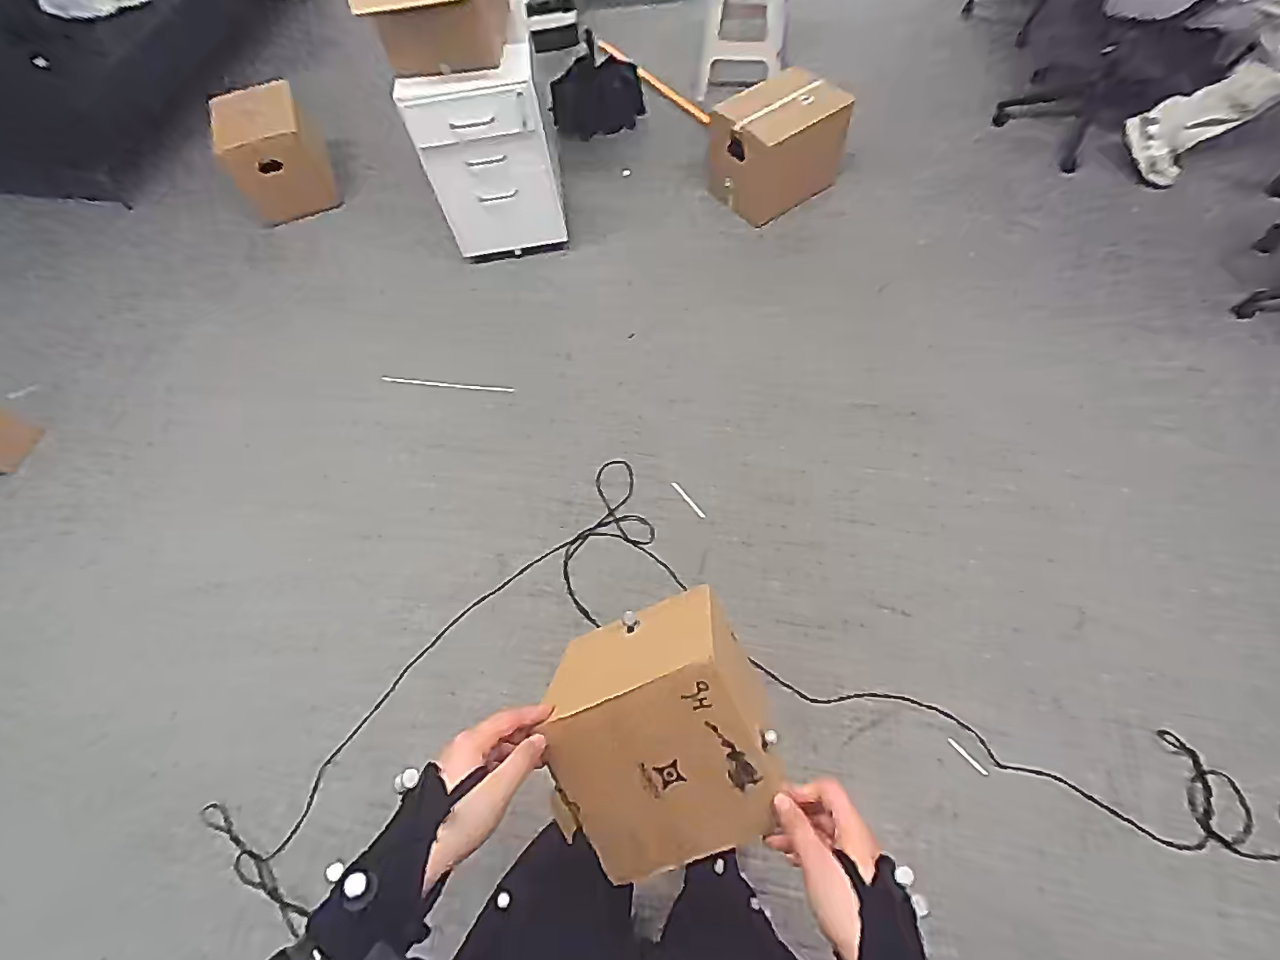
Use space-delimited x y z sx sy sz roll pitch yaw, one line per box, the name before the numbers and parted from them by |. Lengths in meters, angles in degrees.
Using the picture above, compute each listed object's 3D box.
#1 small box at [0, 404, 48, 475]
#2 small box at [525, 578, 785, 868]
small box | -2.115 -0.140 1.759 0.168 0.176 0.179 8 64 9
small box | 0.021 0.222 0.534 0.179 0.176 0.168 -26 95 10
